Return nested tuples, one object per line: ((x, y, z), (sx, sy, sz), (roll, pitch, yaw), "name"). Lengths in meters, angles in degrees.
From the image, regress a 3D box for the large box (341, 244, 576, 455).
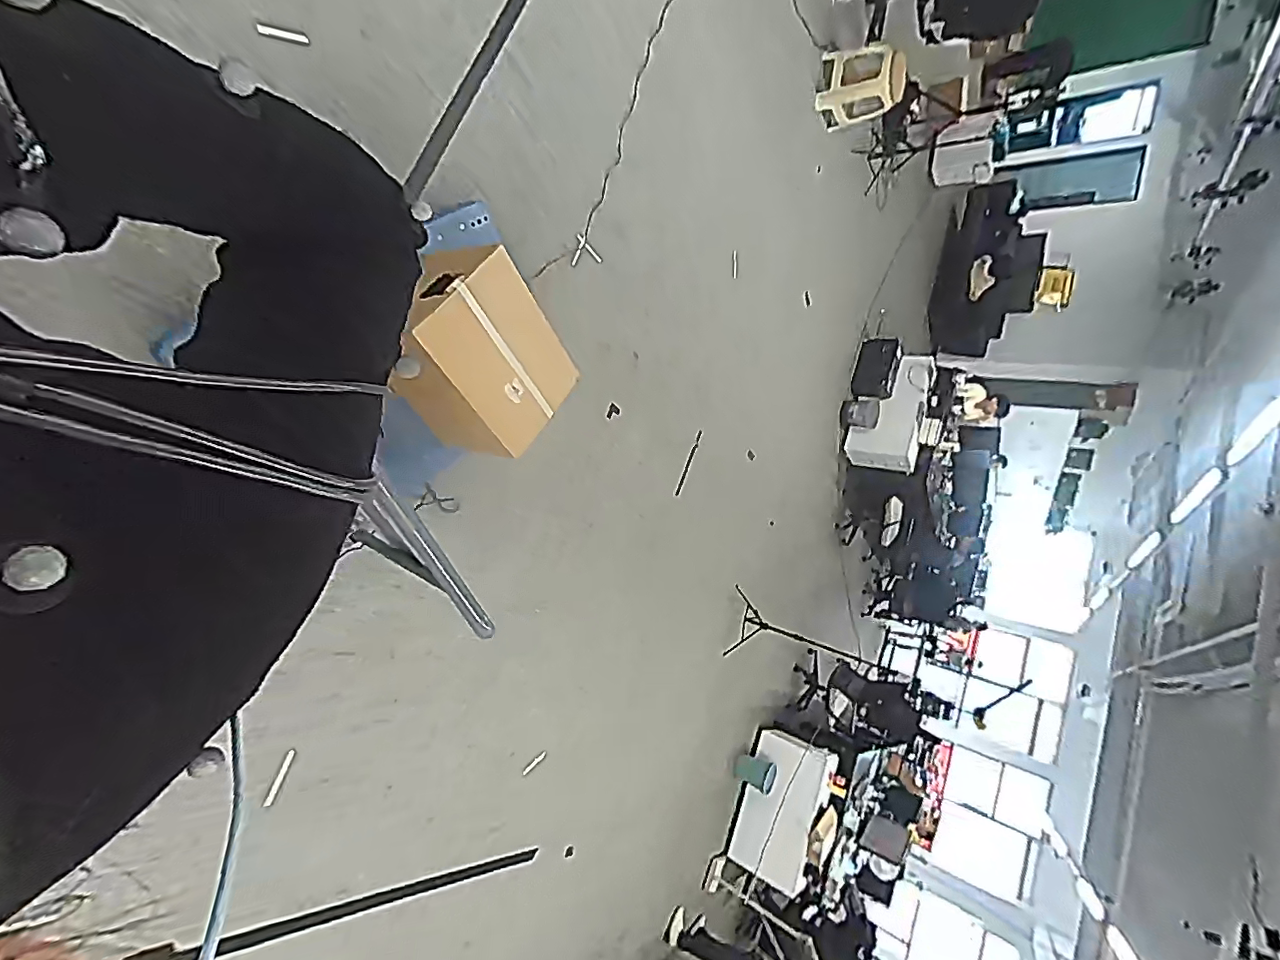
((-0.438, -0.321, 1.367), (0.320, 0.320, 0.408), (-58, 140, -25), "large box")
